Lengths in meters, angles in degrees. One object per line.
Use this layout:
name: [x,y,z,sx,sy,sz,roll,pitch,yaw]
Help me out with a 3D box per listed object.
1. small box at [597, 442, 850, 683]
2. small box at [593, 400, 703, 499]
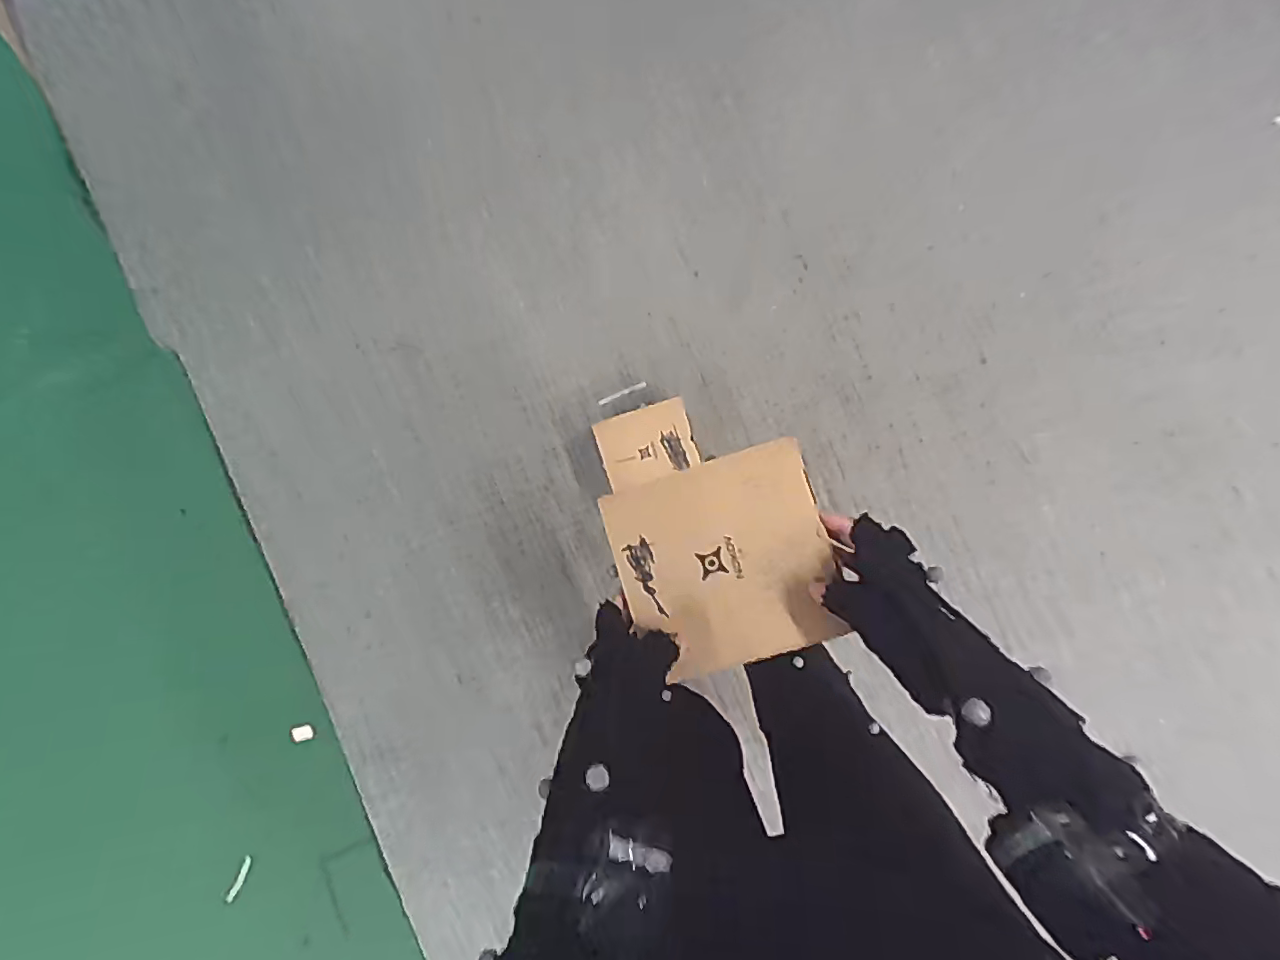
small box: [0.080,0.074,0.538,0.179,0.176,0.168,-21,83,9]
small box: [0.022,-0.050,1.069,0.179,0.176,0.168,-17,90,6]
